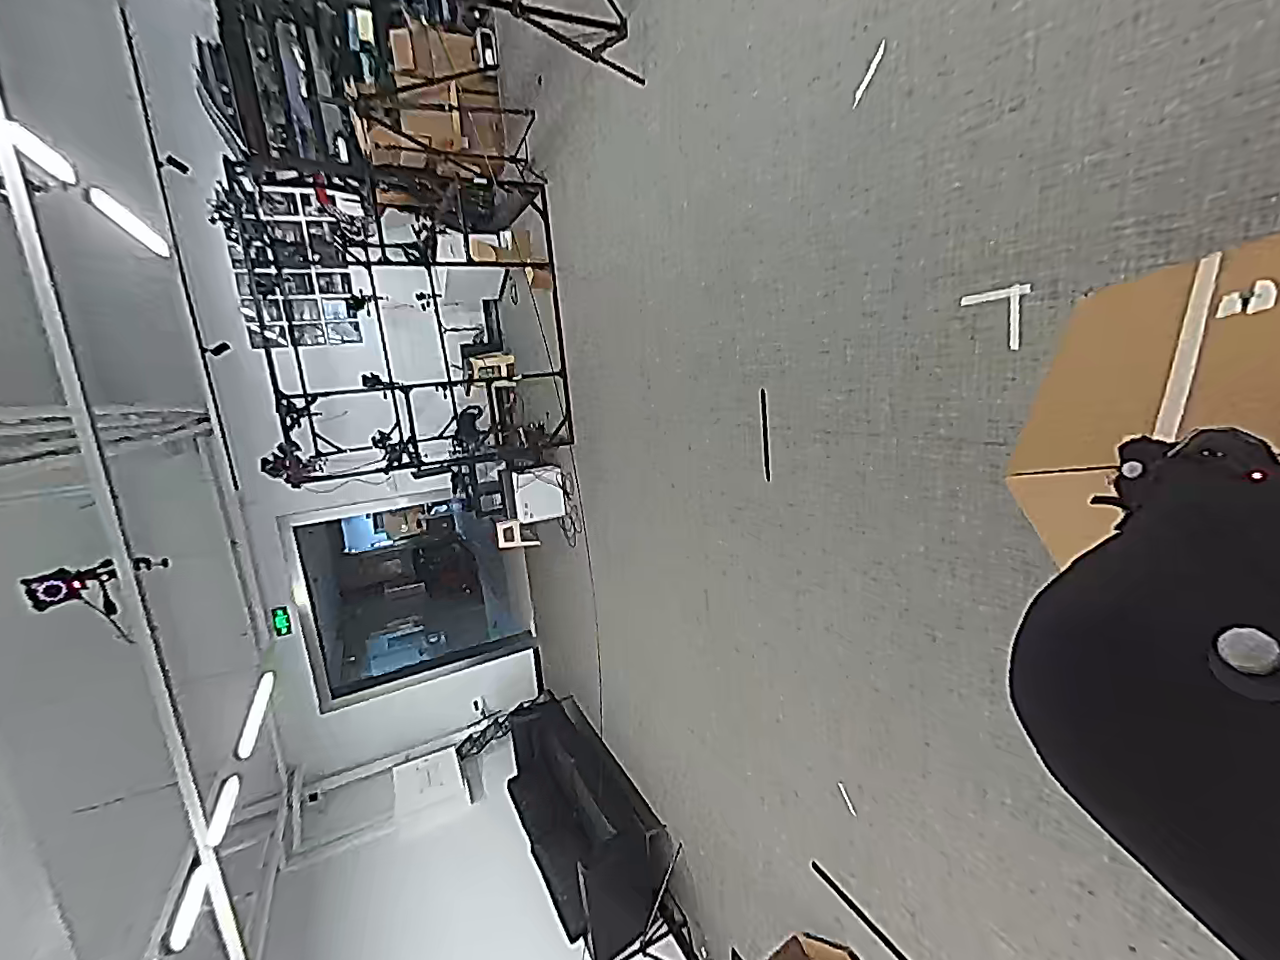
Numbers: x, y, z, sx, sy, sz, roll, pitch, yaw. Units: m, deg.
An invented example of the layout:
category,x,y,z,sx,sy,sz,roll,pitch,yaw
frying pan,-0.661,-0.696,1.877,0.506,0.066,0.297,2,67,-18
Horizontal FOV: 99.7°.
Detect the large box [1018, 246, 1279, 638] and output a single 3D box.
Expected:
category,x,y,z,sx,sy,sz,roll,pitch,yaw
large box,0.777,-0.047,0.702,0.320,0.408,0.320,48,155,-19
